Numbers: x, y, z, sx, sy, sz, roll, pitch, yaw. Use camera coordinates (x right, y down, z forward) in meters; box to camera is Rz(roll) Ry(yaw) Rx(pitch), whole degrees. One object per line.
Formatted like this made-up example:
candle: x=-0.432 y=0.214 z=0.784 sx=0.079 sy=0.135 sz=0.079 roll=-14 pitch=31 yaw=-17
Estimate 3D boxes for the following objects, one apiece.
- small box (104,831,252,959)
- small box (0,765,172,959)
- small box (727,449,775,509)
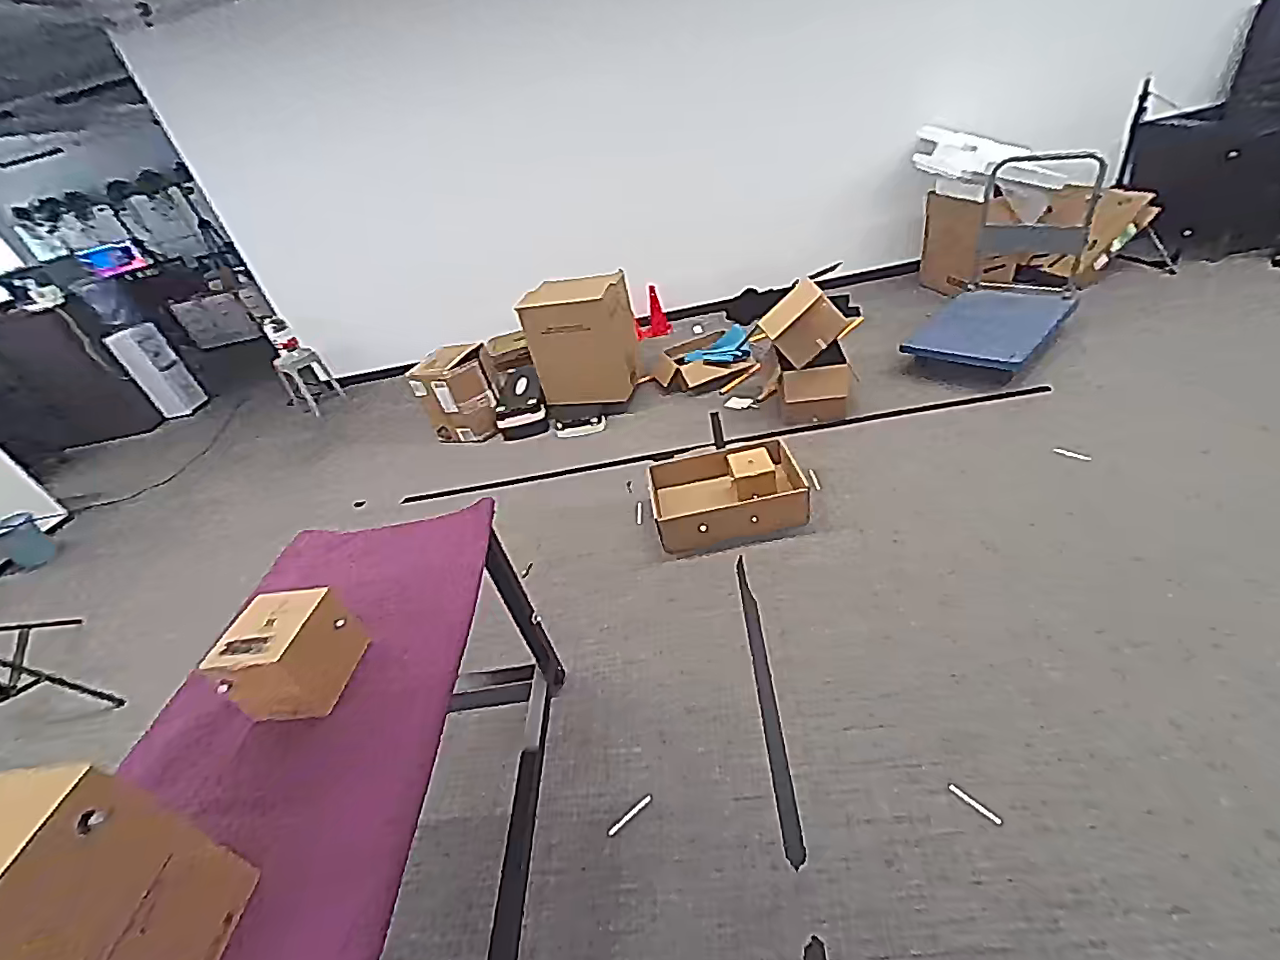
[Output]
small box: x=-0.664 y=0.585 z=0.701 sx=0.179 sy=0.176 sz=0.168 roll=-10 pitch=35 yaw=7
small box: x=-0.687 y=0.453 z=0.603 sx=0.168 sy=0.176 sz=0.179 roll=-10 pitch=35 yaw=6
small box: x=0.471 y=-0.004 z=2.301 sx=0.168 sy=0.176 sz=0.179 roll=-13 pitch=35 yaw=3
